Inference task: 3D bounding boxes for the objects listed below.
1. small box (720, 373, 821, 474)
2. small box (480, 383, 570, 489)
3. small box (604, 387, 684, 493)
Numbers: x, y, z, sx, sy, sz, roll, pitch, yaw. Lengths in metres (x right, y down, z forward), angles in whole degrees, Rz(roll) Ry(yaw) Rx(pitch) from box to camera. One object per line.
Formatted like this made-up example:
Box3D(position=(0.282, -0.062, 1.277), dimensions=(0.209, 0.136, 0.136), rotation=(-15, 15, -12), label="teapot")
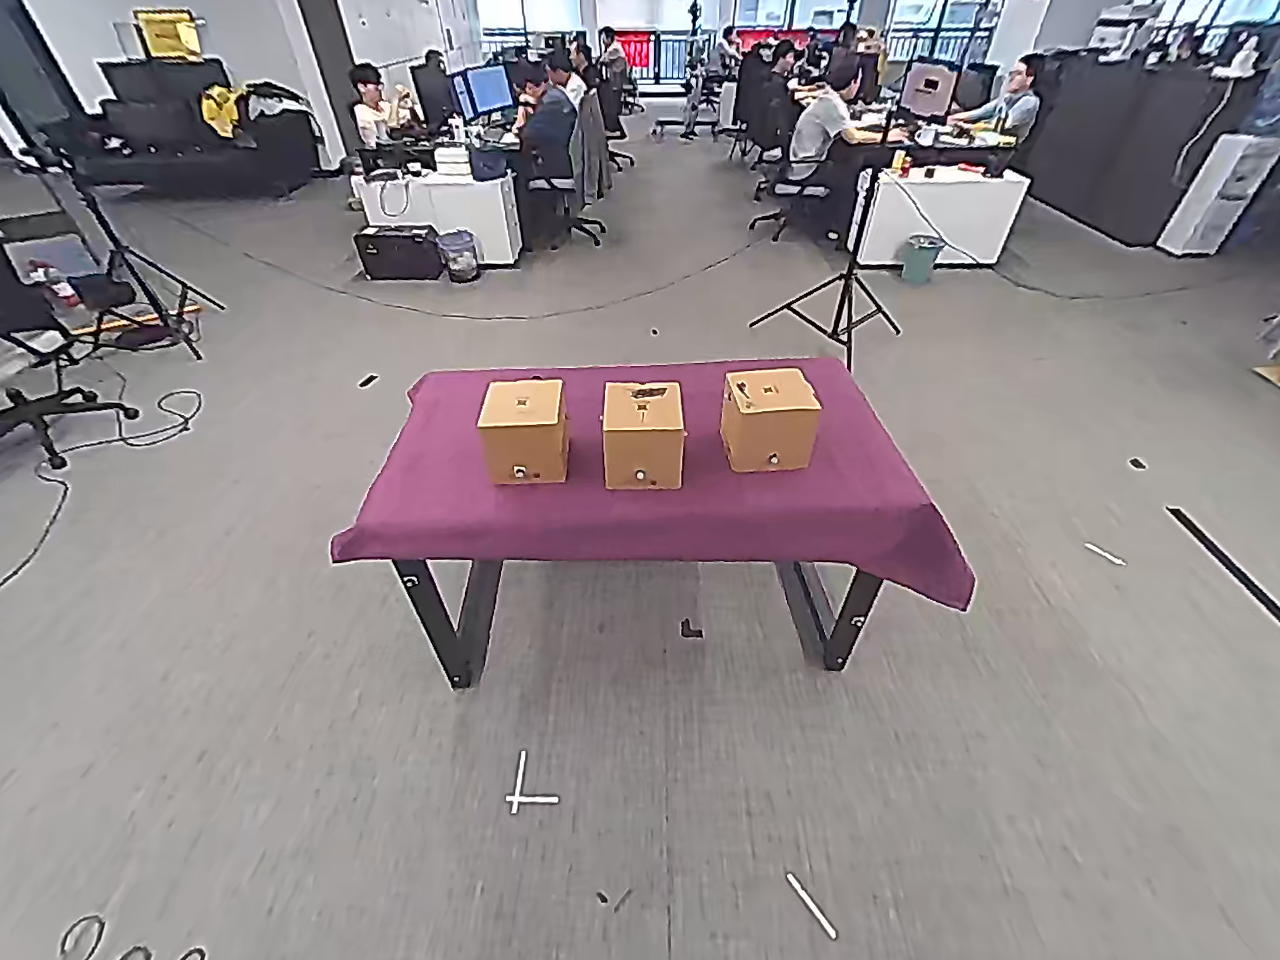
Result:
Box3D(position=(0.291, -0.129, 1.246), dimensions=(0.179, 0.176, 0.168), rotation=(-3, 41, -3), label="small box")
Box3D(position=(-0.251, -0.100, 1.223), dimensions=(0.168, 0.176, 0.179), rotation=(-3, 42, -1), label="small box")
Box3D(position=(0.008, -0.091, 1.206), dimensions=(0.168, 0.176, 0.179), rotation=(-1, 41, 0), label="small box")
